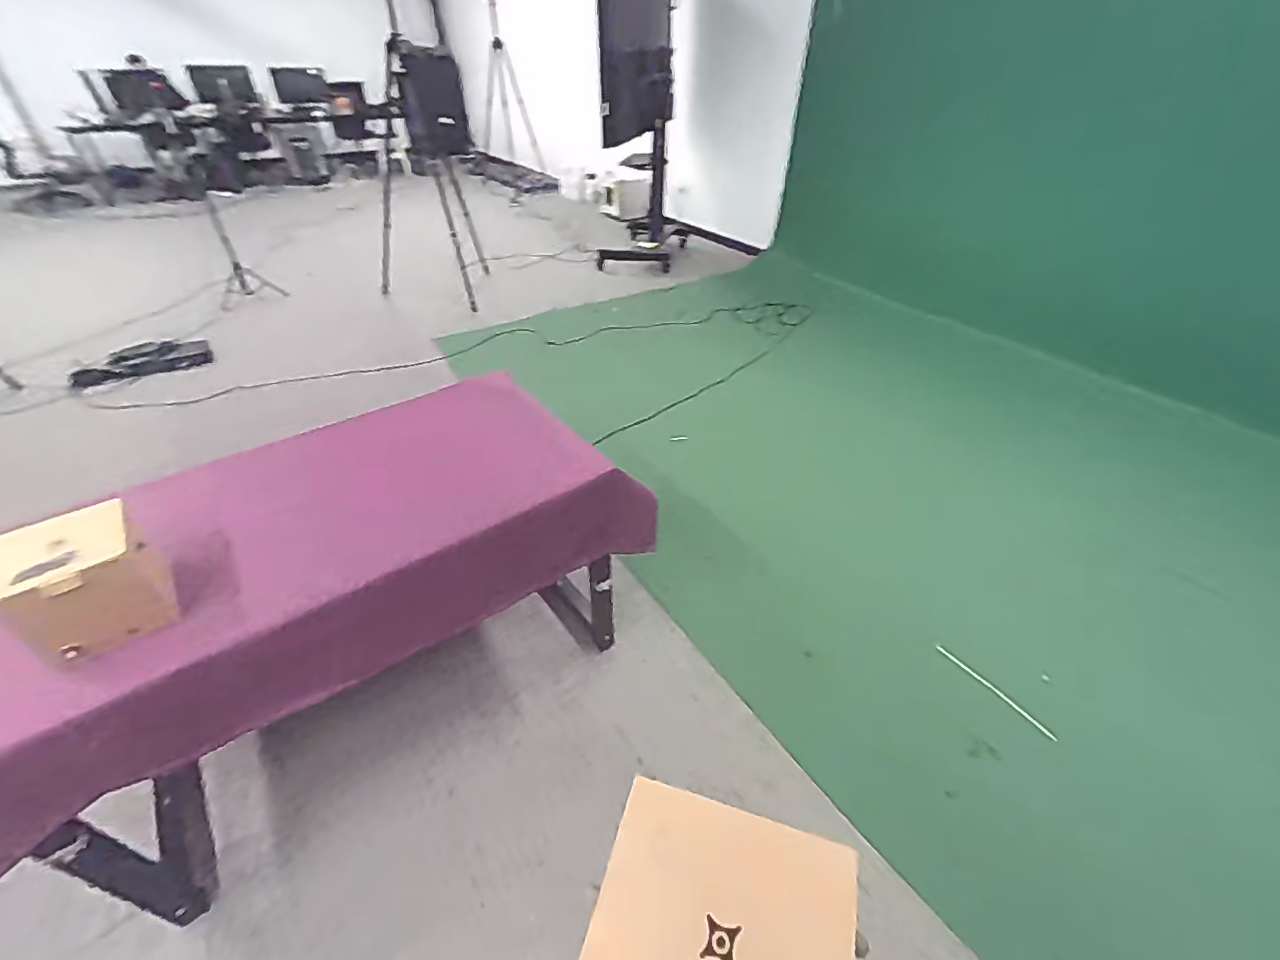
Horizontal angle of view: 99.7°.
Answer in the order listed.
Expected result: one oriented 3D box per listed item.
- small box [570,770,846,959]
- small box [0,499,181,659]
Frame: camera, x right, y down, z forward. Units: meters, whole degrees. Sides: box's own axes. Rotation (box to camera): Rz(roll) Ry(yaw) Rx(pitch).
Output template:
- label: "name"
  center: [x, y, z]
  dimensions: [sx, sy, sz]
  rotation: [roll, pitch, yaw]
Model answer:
- label: "small box"
  center: [0.044, 0.356, 0.399]
  dimensions: [0.168, 0.176, 0.179]
  rotation: [11, 46, 14]
- label: "small box"
  center: [-0.905, 0.169, 0.899]
  dimensions: [0.168, 0.176, 0.179]
  rotation: [-26, 45, -30]
